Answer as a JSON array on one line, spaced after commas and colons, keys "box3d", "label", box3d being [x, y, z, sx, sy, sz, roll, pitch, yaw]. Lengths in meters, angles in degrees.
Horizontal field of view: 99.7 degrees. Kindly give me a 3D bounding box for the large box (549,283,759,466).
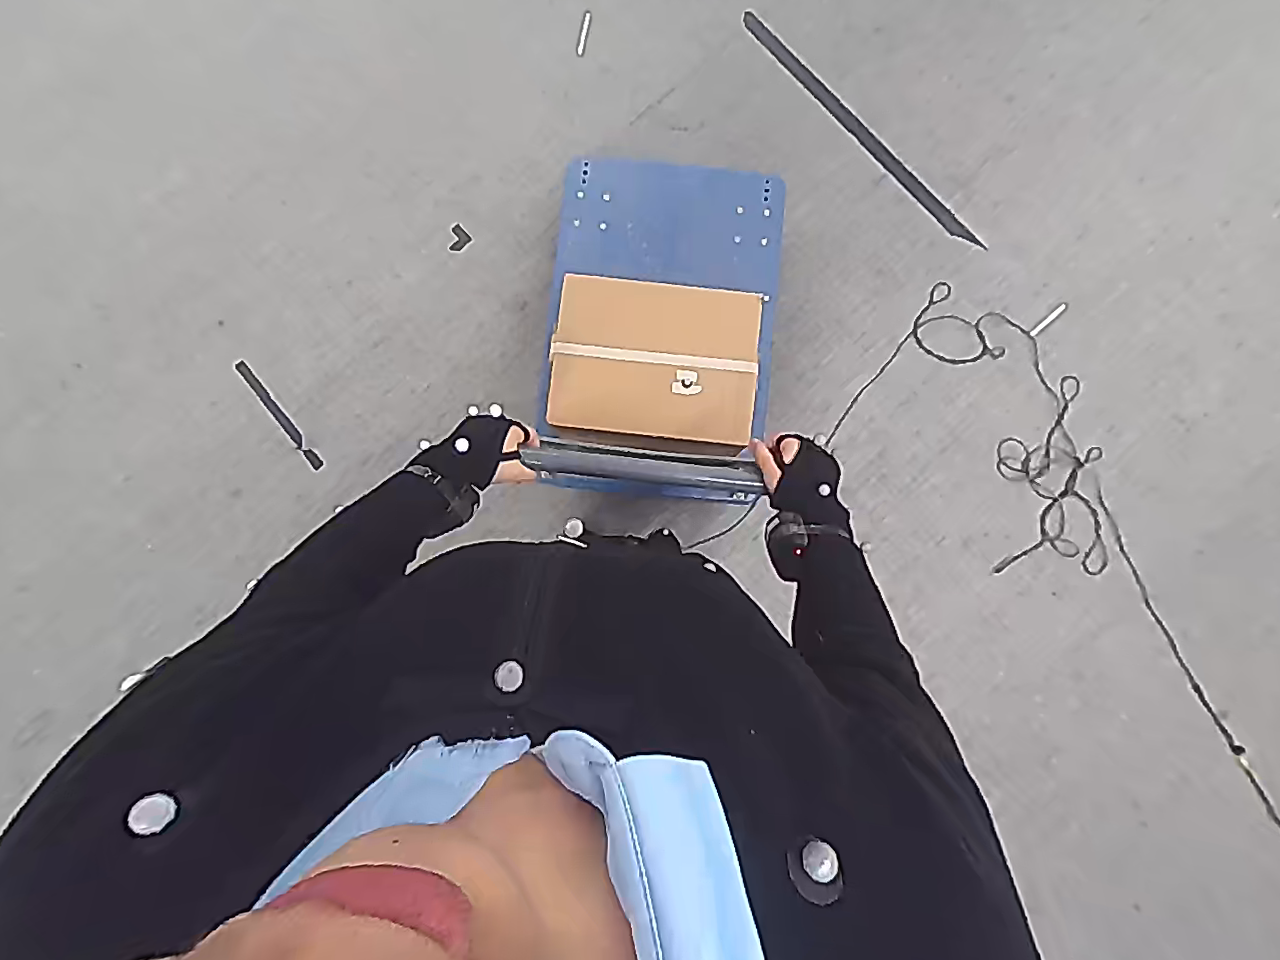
[{"box3d": [0.026, -0.216, 1.226, 0.408, 0.320, 0.320, 6, 86, -1], "label": "large box"}]
